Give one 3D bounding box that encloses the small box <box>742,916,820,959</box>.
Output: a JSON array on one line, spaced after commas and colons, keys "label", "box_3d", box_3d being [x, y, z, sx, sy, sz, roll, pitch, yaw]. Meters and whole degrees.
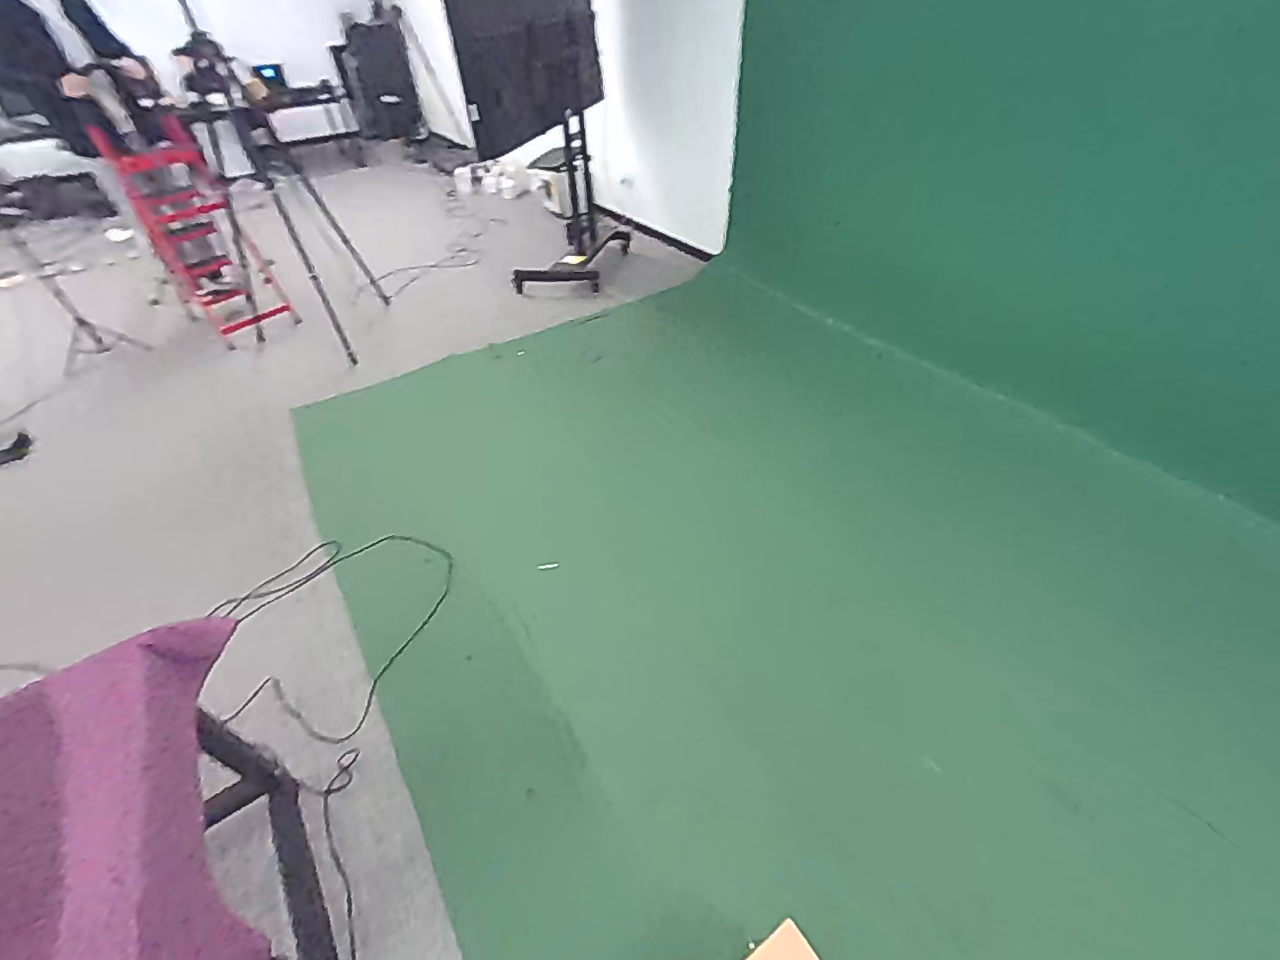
[{"label": "small box", "box_3d": [0.262, 0.969, 1.003, 0.179, 0.176, 0.168, -25, 48, -23]}]
